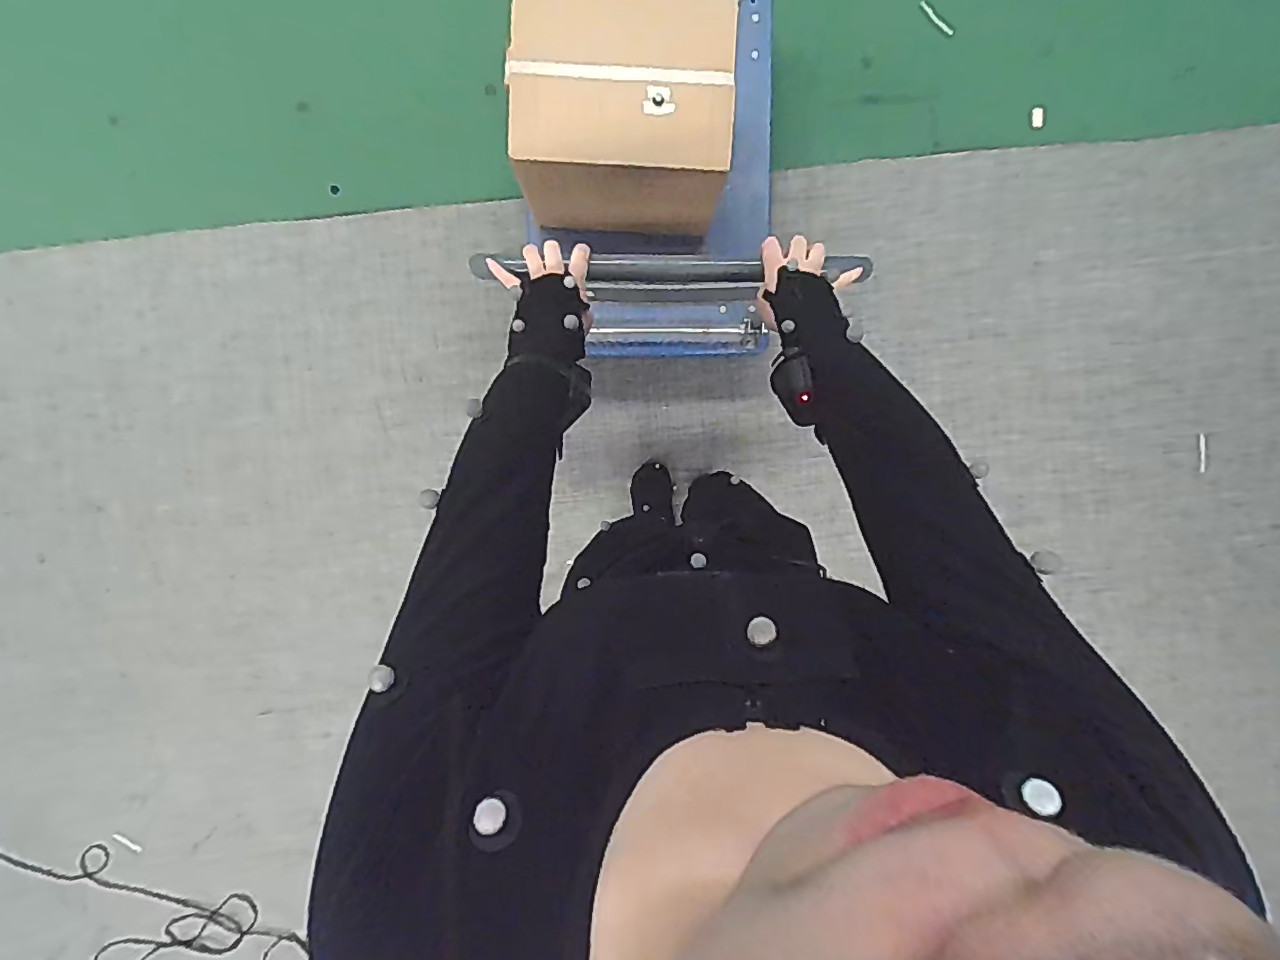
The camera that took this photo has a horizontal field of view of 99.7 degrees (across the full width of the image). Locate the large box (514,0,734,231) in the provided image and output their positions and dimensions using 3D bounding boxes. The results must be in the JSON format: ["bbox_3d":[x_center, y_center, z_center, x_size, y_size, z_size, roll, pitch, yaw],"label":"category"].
[{"bbox_3d":[-0.037,-0.744,1.136,0.408,0.320,0.320,2,94,-2],"label":"large box"}]
